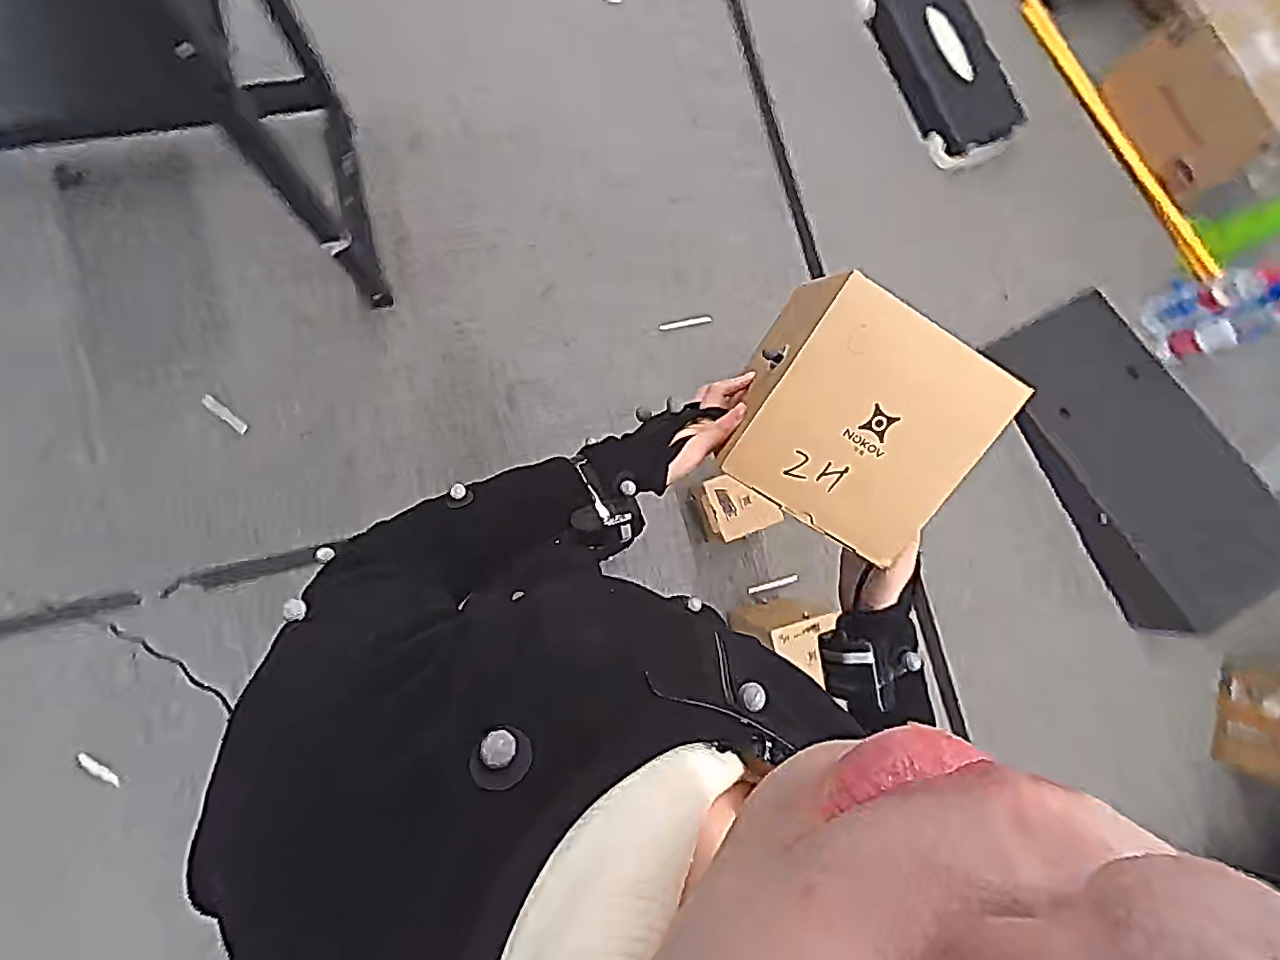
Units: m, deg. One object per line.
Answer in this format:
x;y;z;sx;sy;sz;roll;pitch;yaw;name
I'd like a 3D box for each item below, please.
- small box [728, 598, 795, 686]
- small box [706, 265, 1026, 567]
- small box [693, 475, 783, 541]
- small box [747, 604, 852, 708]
0.349;0.426;1.446;0.168;0.176;0.179;-11;86;-8;small box
0.170;-0.062;0.478;0.168;0.176;0.179;30;106;-7;small box
0.255;0.063;1.465;0.179;0.176;0.168;-19;88;-9;small box
0.372;0.409;1.285;0.168;0.176;0.179;-12;87;-9;small box
